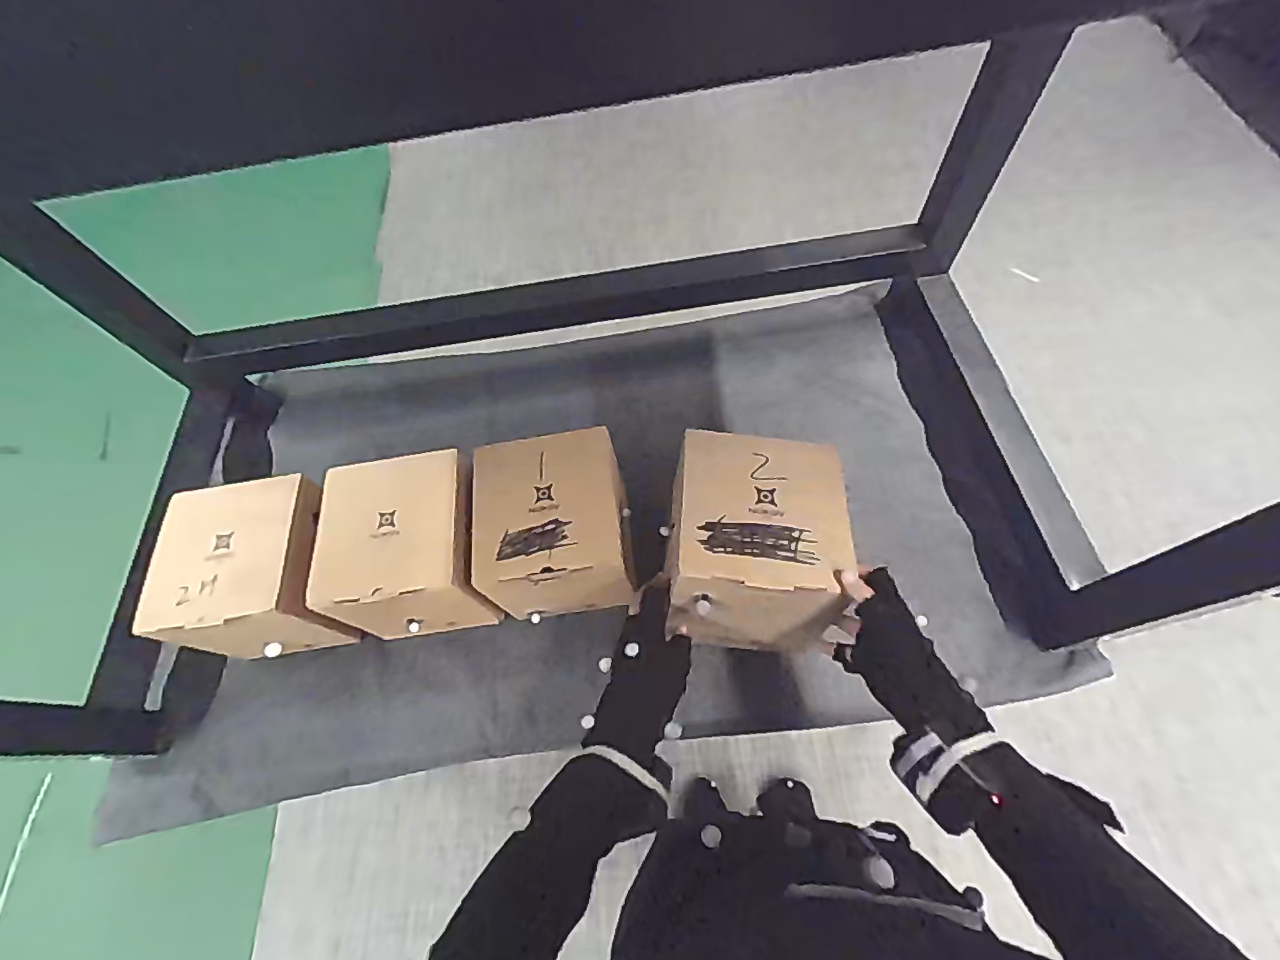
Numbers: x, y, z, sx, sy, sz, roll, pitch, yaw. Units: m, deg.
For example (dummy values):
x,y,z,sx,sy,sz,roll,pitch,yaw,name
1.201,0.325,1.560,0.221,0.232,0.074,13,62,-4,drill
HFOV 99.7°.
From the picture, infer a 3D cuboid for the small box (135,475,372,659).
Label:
x,y,z,sx,sy,sz,roll,pitch,yaw,name
-0.472,0.117,0.695,0.168,0.176,0.179,-10,62,2,small box
